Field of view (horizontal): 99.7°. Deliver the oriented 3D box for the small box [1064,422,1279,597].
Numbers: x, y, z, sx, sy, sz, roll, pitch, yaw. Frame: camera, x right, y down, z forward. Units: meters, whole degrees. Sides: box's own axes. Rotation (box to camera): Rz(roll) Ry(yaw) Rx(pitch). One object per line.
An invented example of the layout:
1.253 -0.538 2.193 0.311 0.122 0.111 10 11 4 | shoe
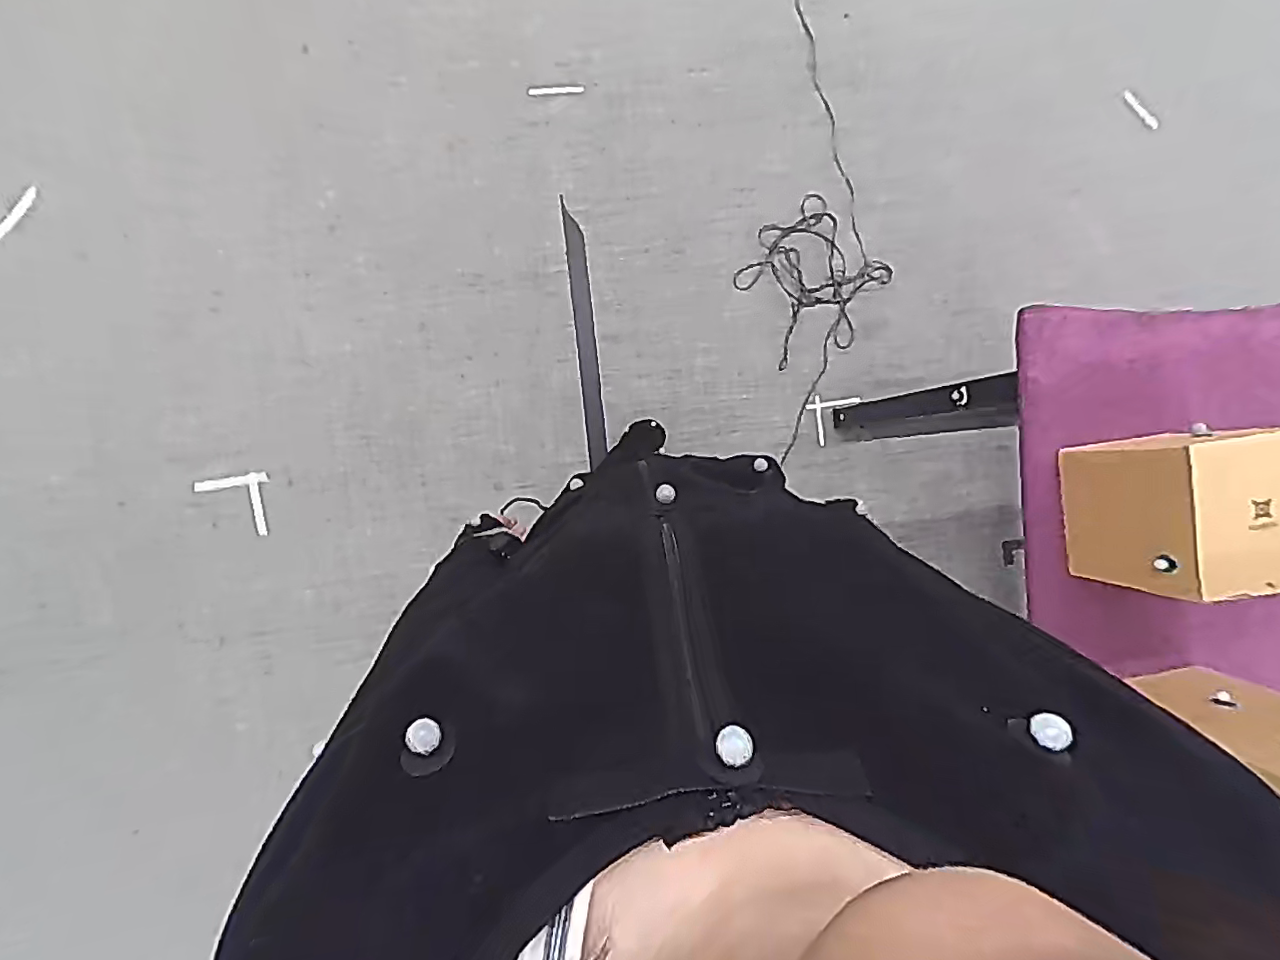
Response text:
0.667 0.029 0.665 0.168 0.176 0.179 -8 93 -4 | small box
